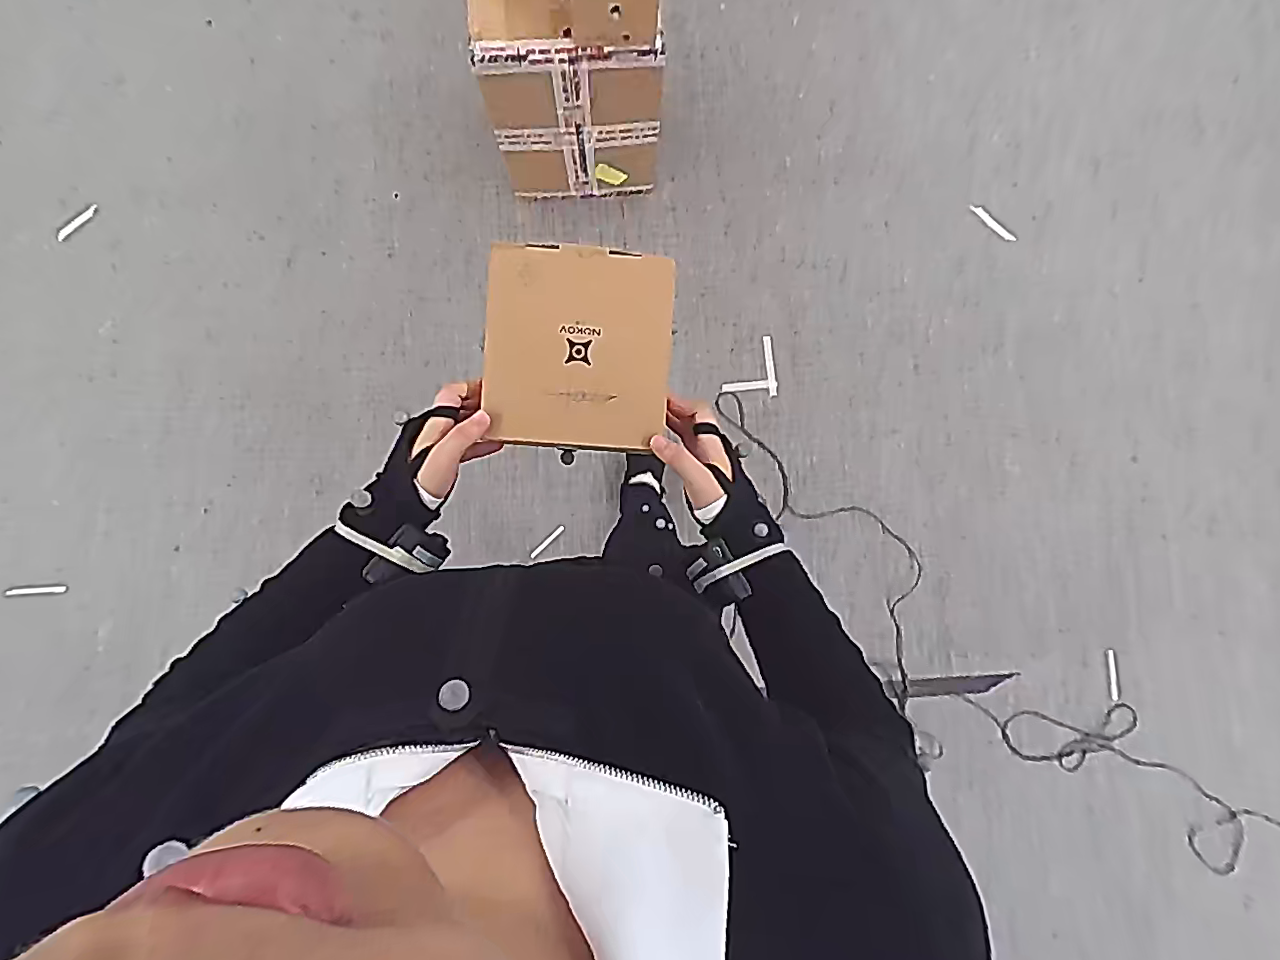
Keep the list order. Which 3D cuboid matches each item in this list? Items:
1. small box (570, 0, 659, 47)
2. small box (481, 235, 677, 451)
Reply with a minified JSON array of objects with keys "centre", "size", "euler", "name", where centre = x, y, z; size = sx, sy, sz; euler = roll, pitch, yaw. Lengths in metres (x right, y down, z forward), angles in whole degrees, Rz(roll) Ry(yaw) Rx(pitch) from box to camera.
[{"centre":[-0.050,-0.944,0.999],"size":[0.168,0.176,0.179],"euler":[-3,88,-3],"name":"small box"},{"centre":[-0.059,-0.125,0.559],"size":[0.168,0.176,0.179],"euler":[3,91,-3],"name":"small box"}]
